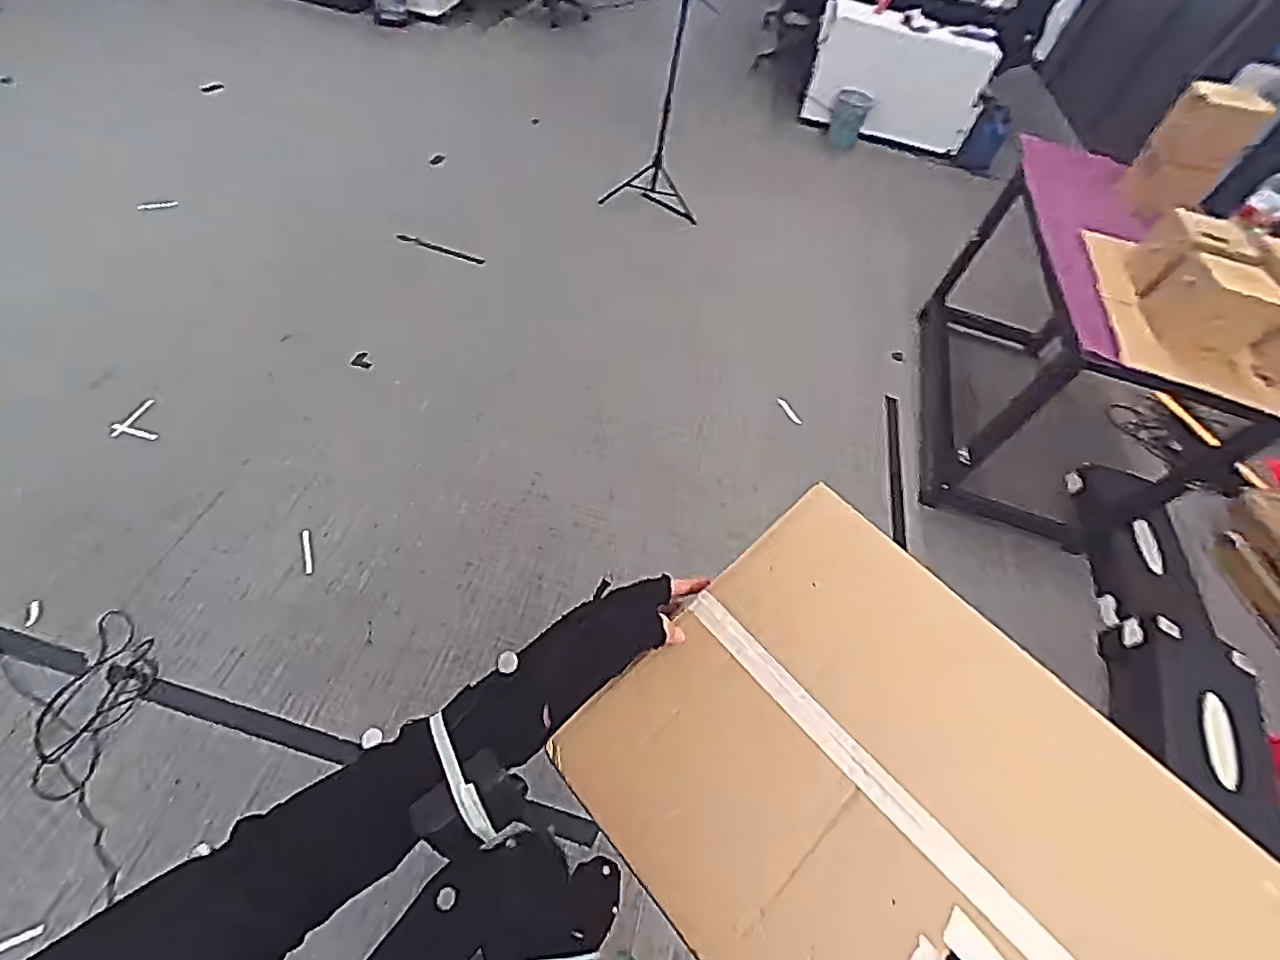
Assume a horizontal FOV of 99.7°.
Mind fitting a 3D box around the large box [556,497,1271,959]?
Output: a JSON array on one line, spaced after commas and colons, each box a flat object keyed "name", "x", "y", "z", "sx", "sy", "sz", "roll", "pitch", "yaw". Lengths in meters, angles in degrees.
[{"name": "large box", "x": 0.177, "y": 0.297, "z": 0.510, "sx": 0.320, "sy": 0.320, "sz": 0.408, "roll": -40, "pitch": 70, "yaw": -18}]
